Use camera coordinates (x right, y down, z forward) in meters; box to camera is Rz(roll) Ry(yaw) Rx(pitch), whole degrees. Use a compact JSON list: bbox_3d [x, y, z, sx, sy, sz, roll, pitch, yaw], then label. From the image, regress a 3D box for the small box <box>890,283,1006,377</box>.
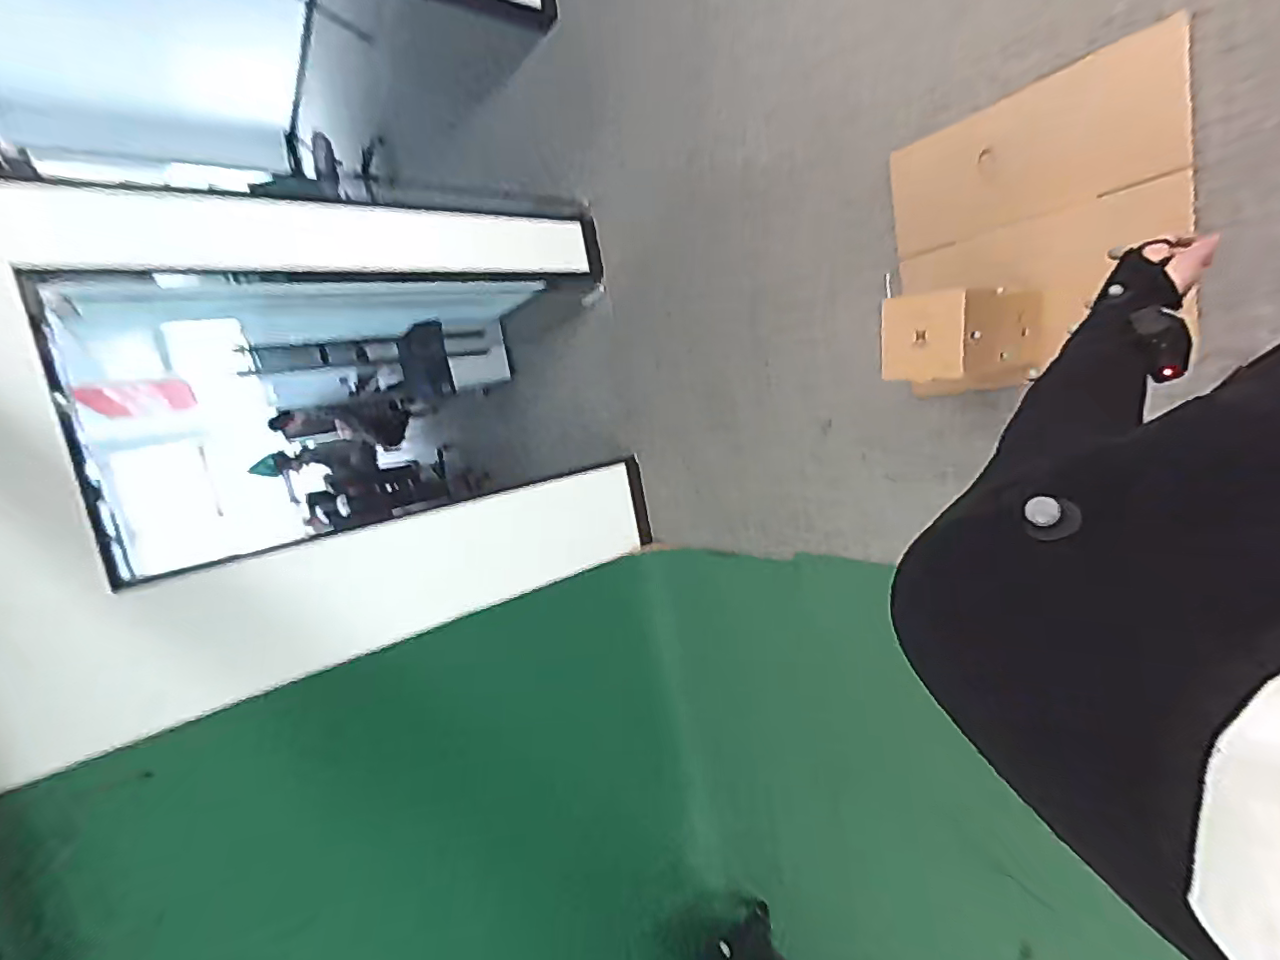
[{"bbox_3d":[0.660,-0.320,1.159,0.168,0.176,0.179,11,111,51],"label":"small box"}]
